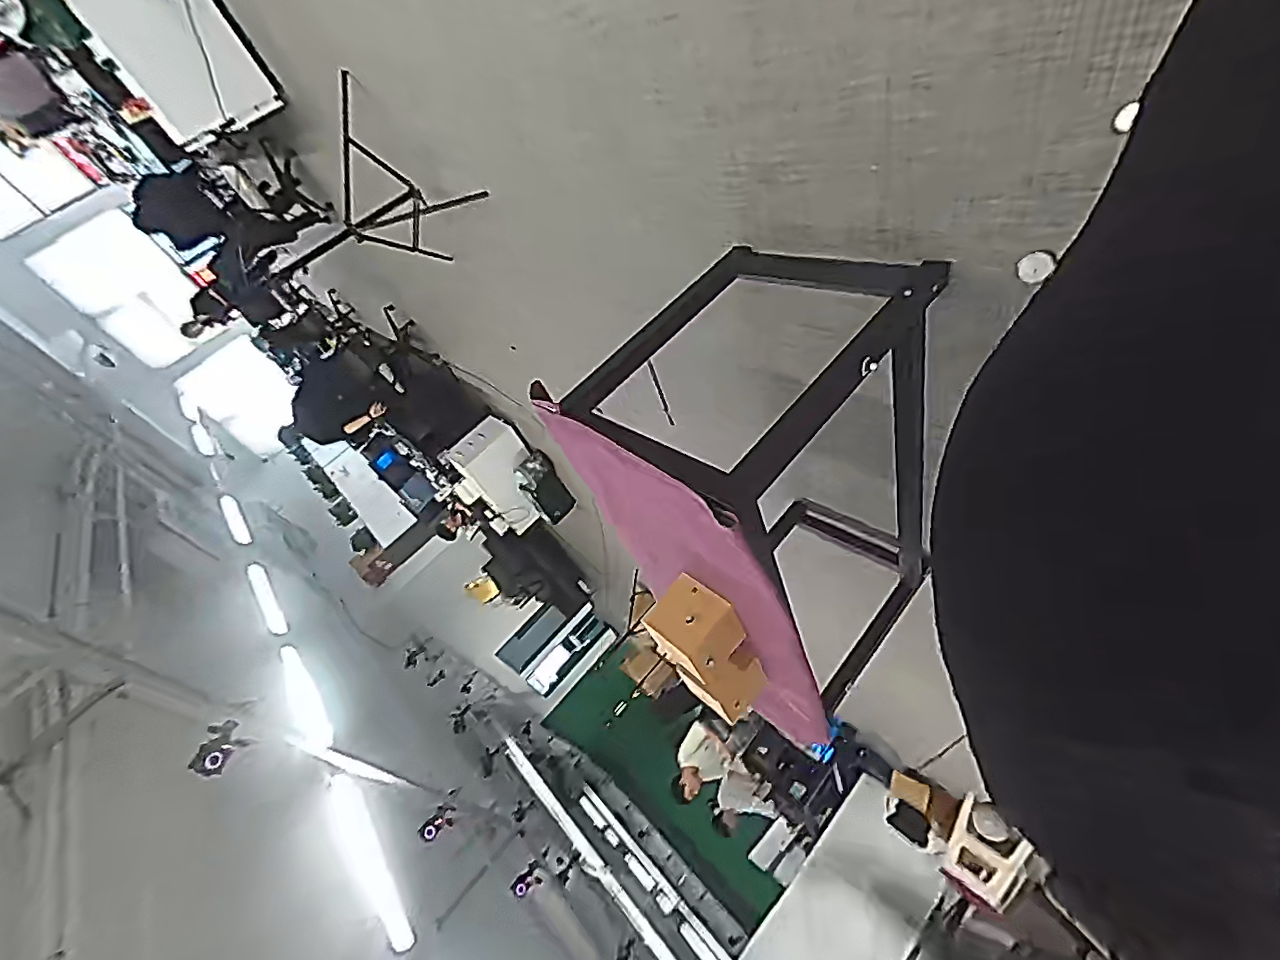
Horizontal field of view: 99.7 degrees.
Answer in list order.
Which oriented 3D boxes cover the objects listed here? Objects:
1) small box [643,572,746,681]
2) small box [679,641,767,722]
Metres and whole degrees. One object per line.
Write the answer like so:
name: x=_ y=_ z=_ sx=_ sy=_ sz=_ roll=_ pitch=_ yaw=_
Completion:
small box: x=0.143 y=0.364 z=1.360 sx=0.168 sy=0.176 sz=0.179 roll=29 pitch=157 yaw=41
small box: x=0.244 y=0.550 z=1.551 sx=0.168 sy=0.176 sz=0.179 roll=29 pitch=156 yaw=41
